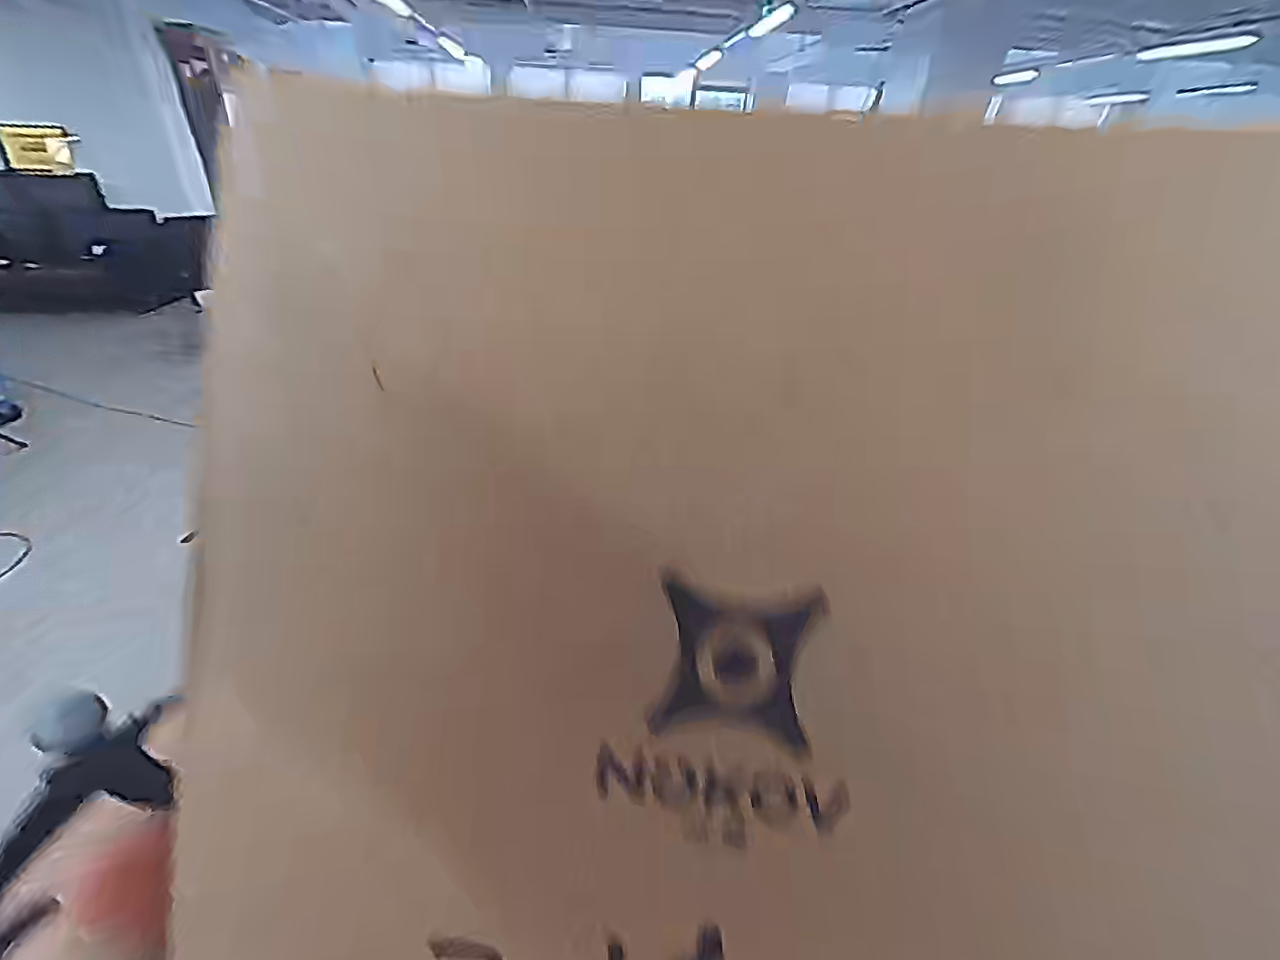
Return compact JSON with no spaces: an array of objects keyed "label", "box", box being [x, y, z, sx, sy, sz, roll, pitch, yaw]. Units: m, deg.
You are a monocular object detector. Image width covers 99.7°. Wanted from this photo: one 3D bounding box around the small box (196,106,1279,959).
[{"label":"small box","box":[0.023,0.034,0.160,0.168,0.179,0.176,7,3,7]}]
